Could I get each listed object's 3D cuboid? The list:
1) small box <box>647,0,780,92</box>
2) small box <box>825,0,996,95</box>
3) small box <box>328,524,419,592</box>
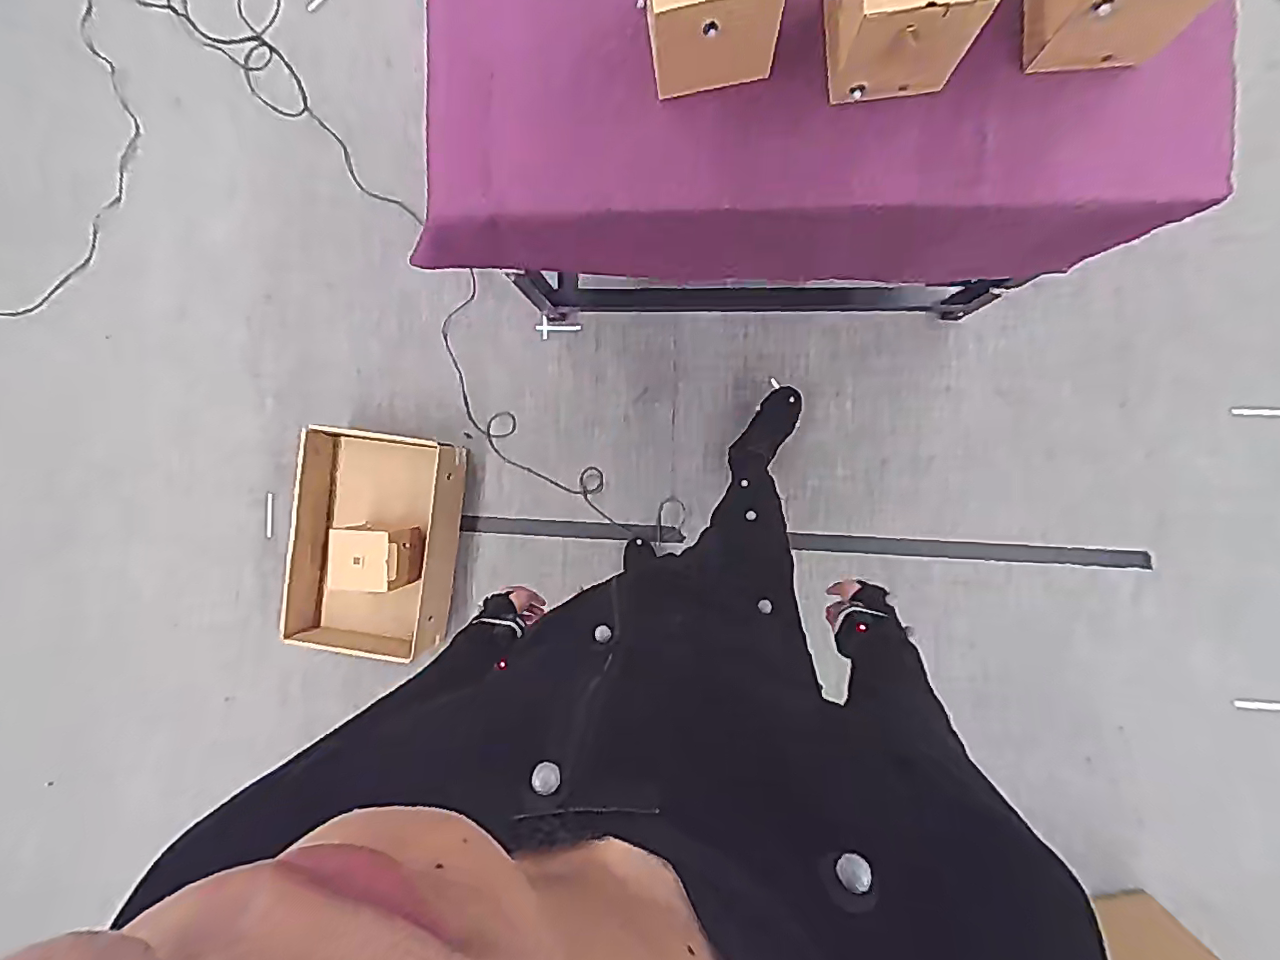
[{"bbox_3d":[0.098,-0.693,0.767,0.179,0.176,0.168,-8,91,4],"label":"small box"},{"bbox_3d":[0.362,-0.670,0.746,0.168,0.176,0.179,-4,90,4],"label":"small box"},{"bbox_3d":[-0.750,0.215,1.536,0.179,0.176,0.168,2,90,5],"label":"small box"}]
